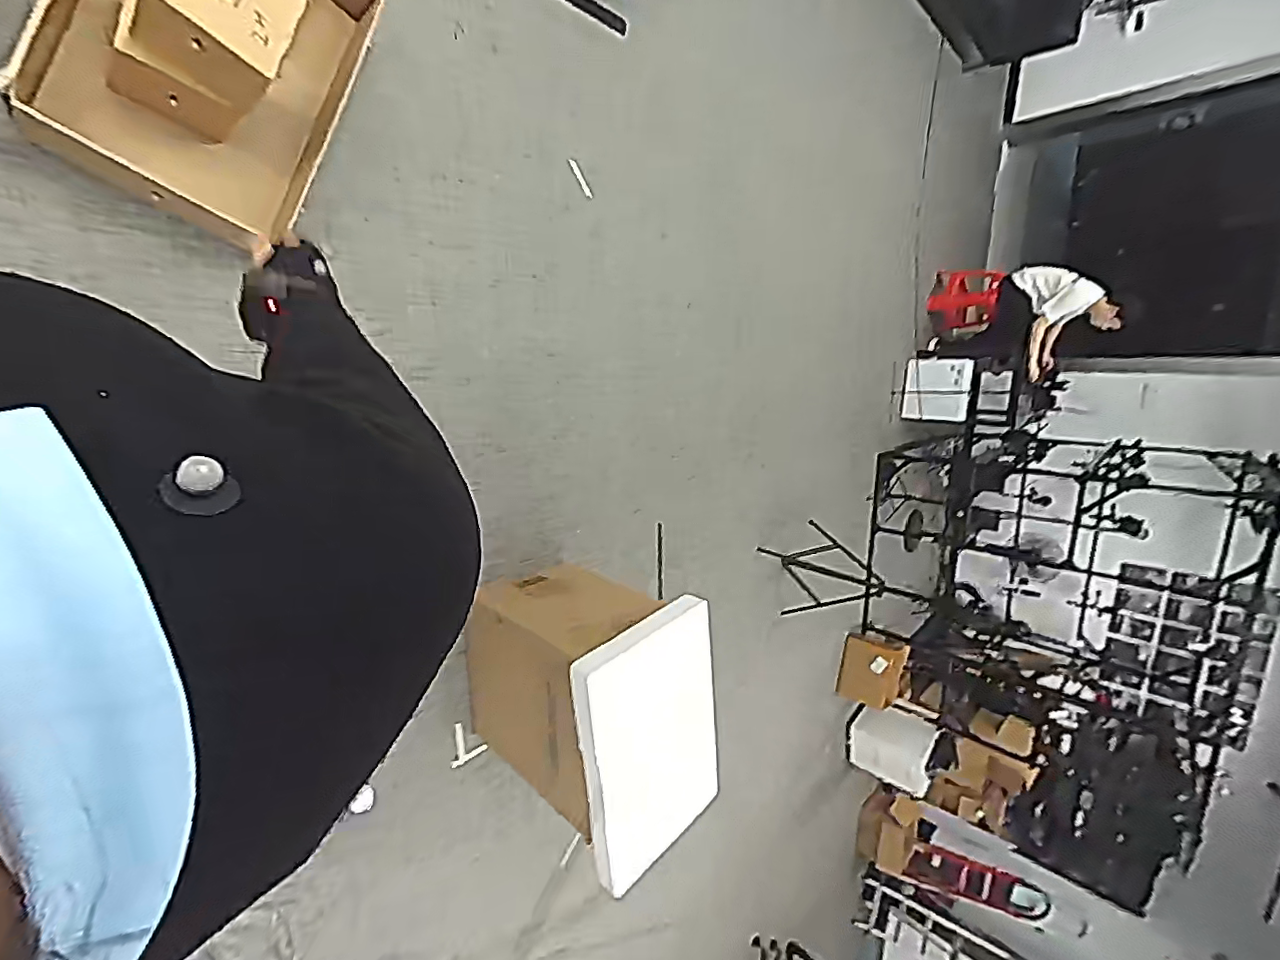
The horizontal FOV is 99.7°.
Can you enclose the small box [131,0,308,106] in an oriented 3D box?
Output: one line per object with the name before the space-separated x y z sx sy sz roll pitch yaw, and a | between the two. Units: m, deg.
small box | -0.699 -0.774 0.896 0.179 0.176 0.168 26 77 -48
